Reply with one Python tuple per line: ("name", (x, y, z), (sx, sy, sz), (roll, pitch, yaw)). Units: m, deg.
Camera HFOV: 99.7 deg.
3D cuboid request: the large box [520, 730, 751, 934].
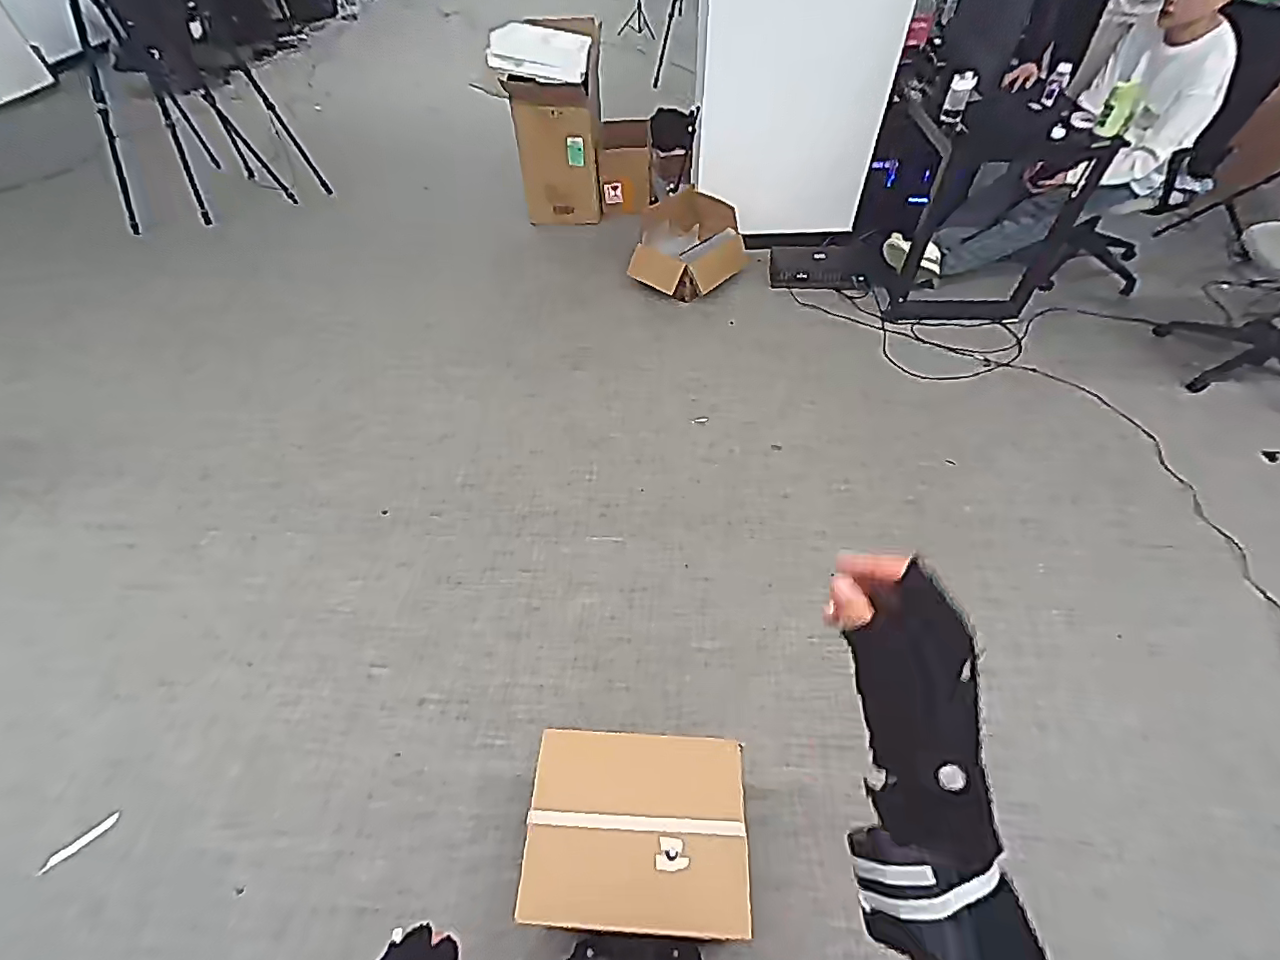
("large box", (-0.004, 0.734, 1.124), (0.408, 0.320, 0.320), (2, 51, 2))
